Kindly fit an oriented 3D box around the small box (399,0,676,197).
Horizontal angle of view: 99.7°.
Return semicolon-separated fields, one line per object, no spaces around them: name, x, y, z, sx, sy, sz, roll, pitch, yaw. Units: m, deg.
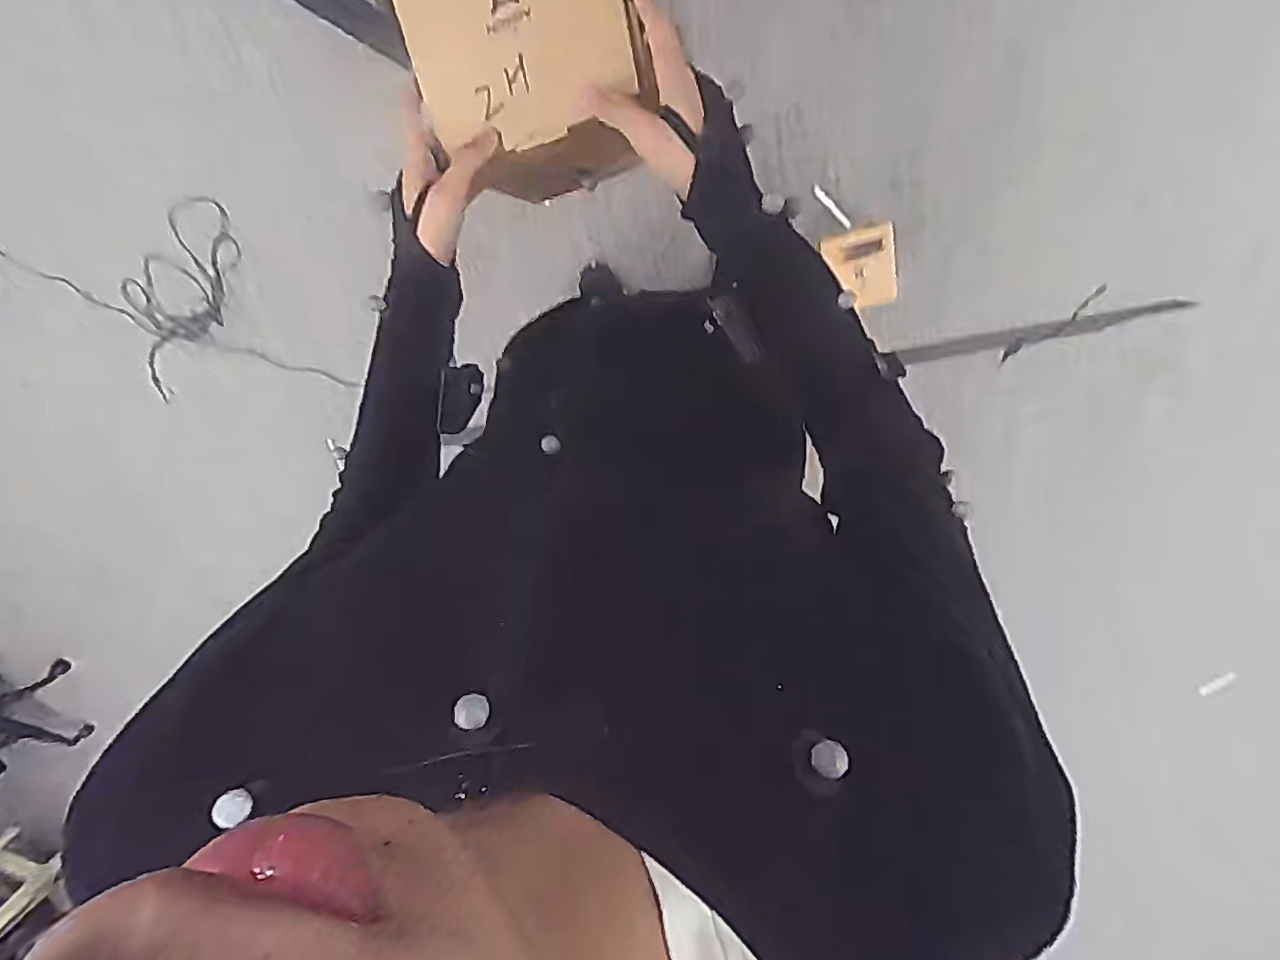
small box;-0.075;-0.363;0.453;0.168;0.176;0.179;-9;107;17
